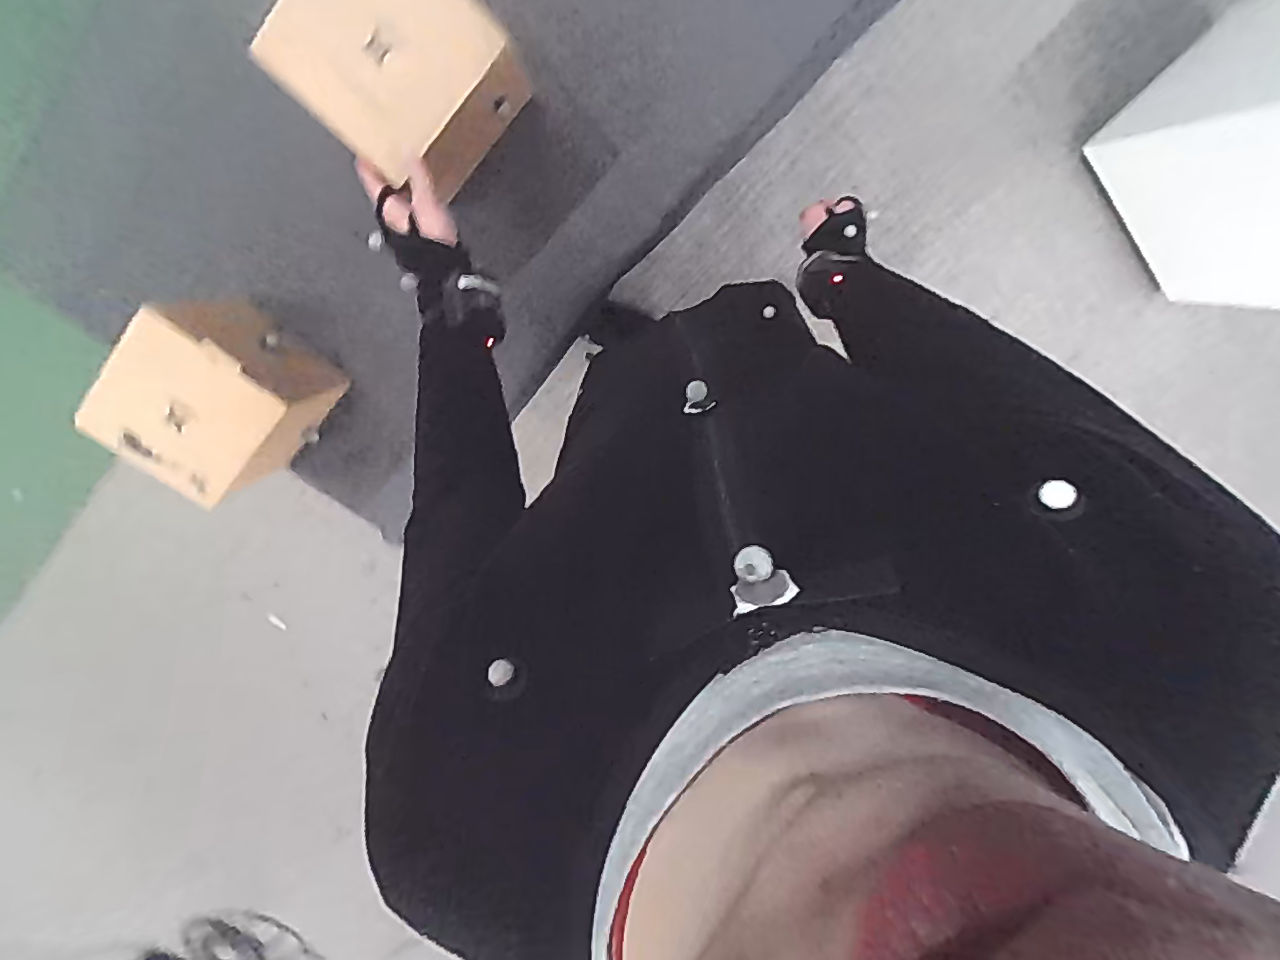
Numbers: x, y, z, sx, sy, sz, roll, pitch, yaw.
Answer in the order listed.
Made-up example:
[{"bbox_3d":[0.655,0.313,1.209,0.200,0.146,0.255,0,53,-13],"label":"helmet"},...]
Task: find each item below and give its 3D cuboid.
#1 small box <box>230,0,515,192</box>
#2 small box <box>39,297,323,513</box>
[{"bbox_3d":[-0.243,-0.425,0.543,0.168,0.176,0.179,41,104,-17],"label":"small box"},{"bbox_3d":[-0.519,-0.100,0.646,0.168,0.176,0.179,41,102,-18],"label":"small box"}]
